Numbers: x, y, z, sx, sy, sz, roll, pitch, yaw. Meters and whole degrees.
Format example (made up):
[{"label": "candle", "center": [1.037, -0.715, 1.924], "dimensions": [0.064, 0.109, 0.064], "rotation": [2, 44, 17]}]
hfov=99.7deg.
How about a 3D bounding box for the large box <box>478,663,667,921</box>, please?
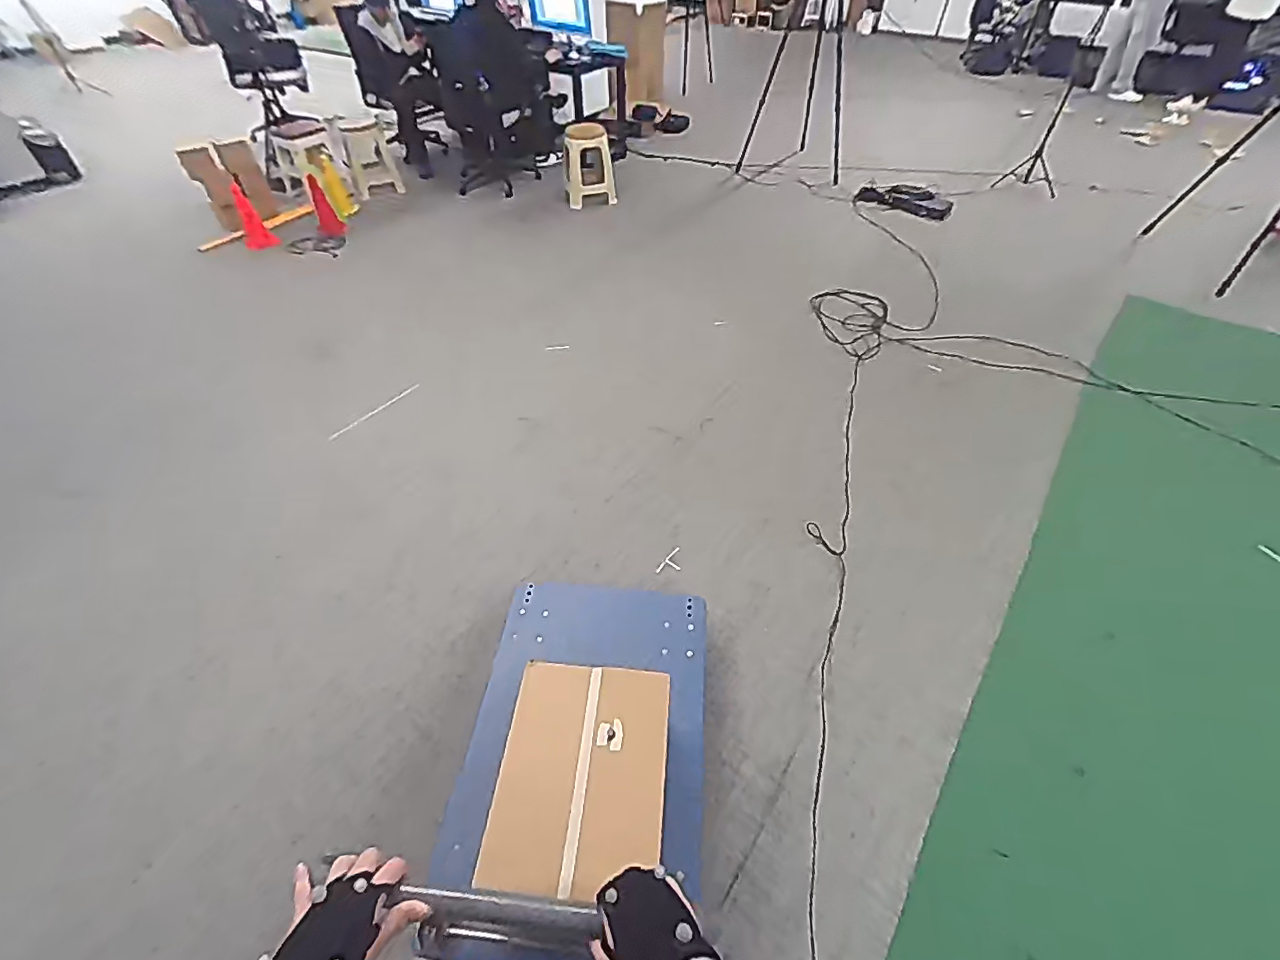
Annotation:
[{"label": "large box", "center": [-0.109, 0.658, 1.151], "dimensions": [0.320, 0.320, 0.408], "rotation": [4, 46, 4]}]
